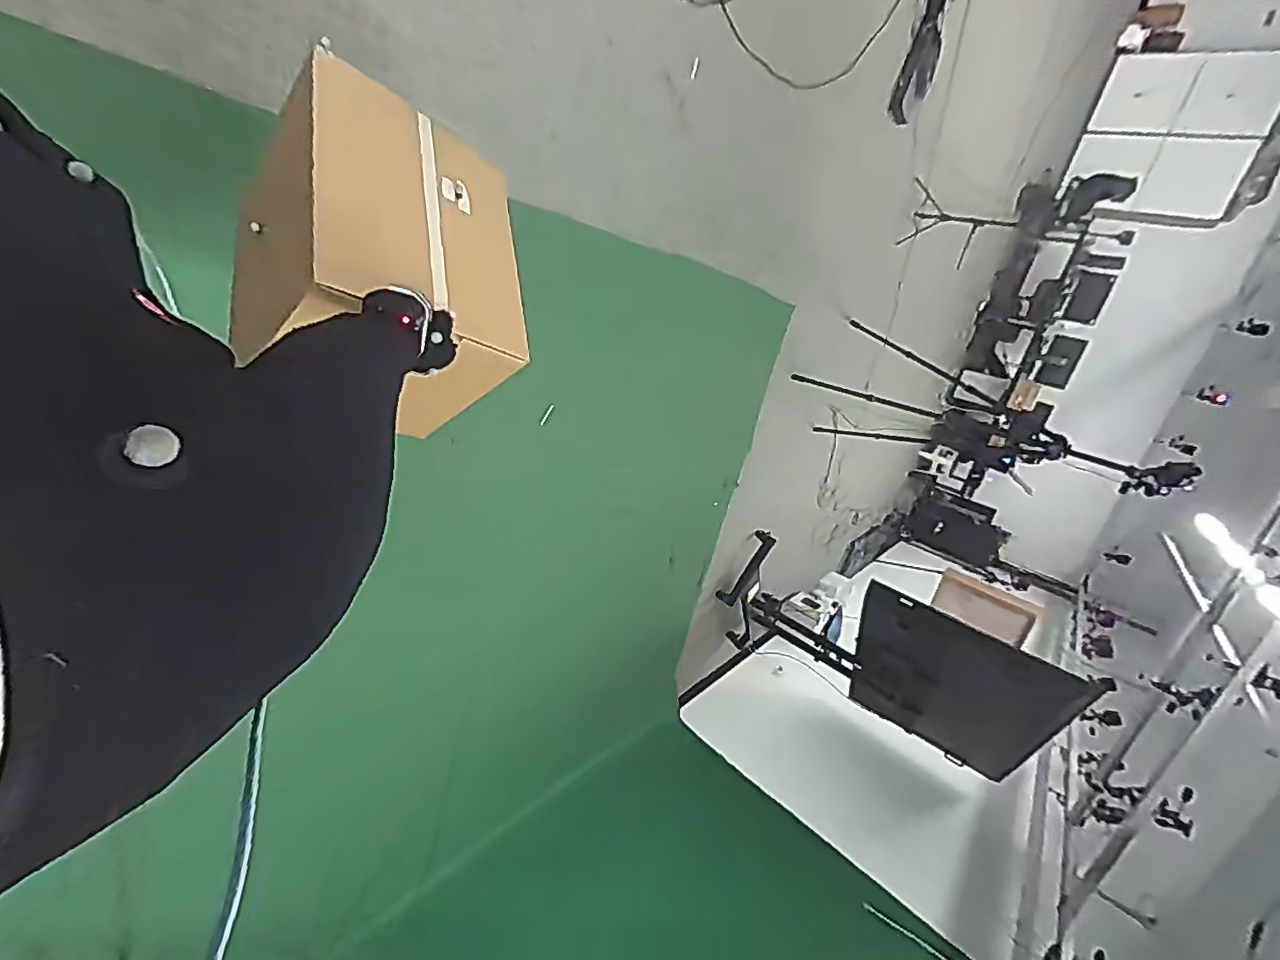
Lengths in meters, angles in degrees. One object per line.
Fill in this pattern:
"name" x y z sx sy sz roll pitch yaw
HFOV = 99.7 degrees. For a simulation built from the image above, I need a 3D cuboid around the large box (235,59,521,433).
"large box" -0.438 -0.335 0.891 0.320 0.320 0.408 12 59 -51
